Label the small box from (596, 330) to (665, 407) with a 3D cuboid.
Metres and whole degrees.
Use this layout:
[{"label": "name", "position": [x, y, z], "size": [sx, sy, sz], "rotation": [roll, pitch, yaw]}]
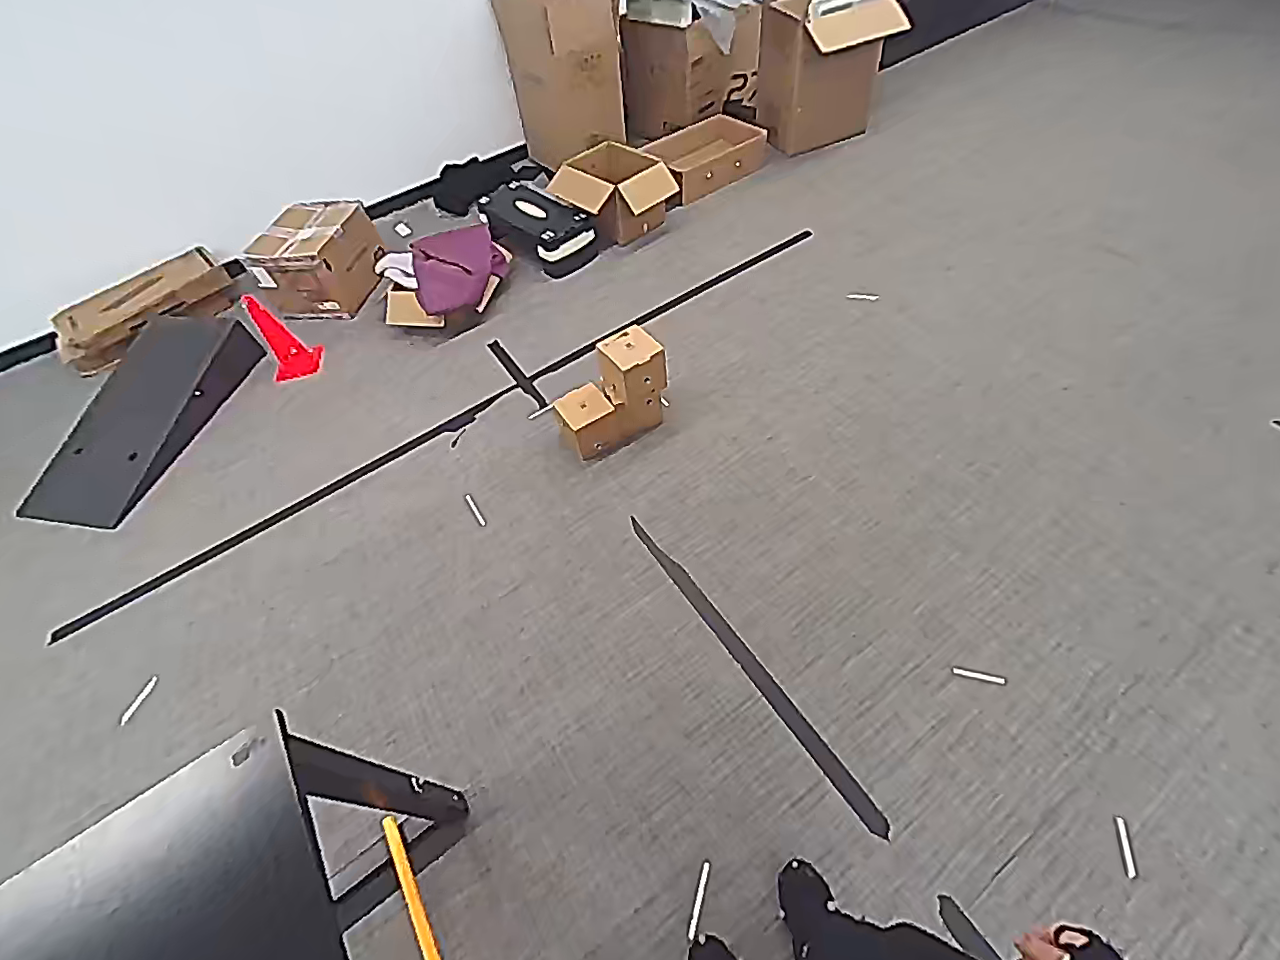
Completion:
[{"label": "small box", "position": [-0.027, -0.373, 1.851], "size": [0.168, 0.176, 0.179], "rotation": [-31, 56, -15]}]
